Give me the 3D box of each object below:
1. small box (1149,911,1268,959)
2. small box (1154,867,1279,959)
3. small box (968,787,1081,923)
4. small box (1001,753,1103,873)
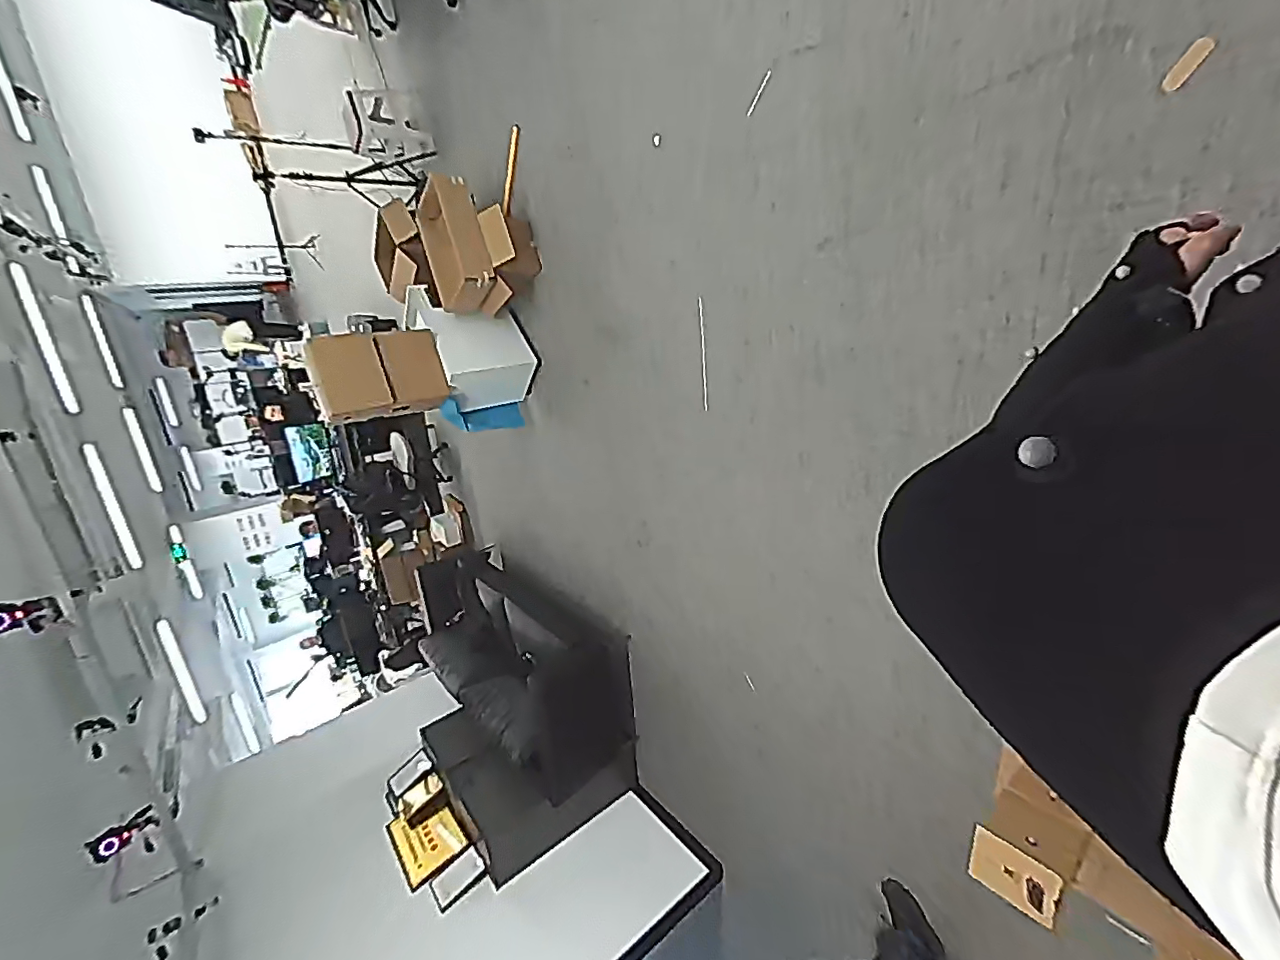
[{"bbox_3d":[1.278,1.124,1.212,0.179,0.176,0.168,28,126,45],"label":"small box"},{"bbox_3d":[1.409,1.088,1.308,0.179,0.176,0.168,28,127,44],"label":"small box"},{"bbox_3d":[0.928,0.890,1.305,0.179,0.176,0.168,18,118,48],"label":"small box"},{"bbox_3d":[1.055,0.845,1.399,0.179,0.176,0.168,17,117,47],"label":"small box"}]
